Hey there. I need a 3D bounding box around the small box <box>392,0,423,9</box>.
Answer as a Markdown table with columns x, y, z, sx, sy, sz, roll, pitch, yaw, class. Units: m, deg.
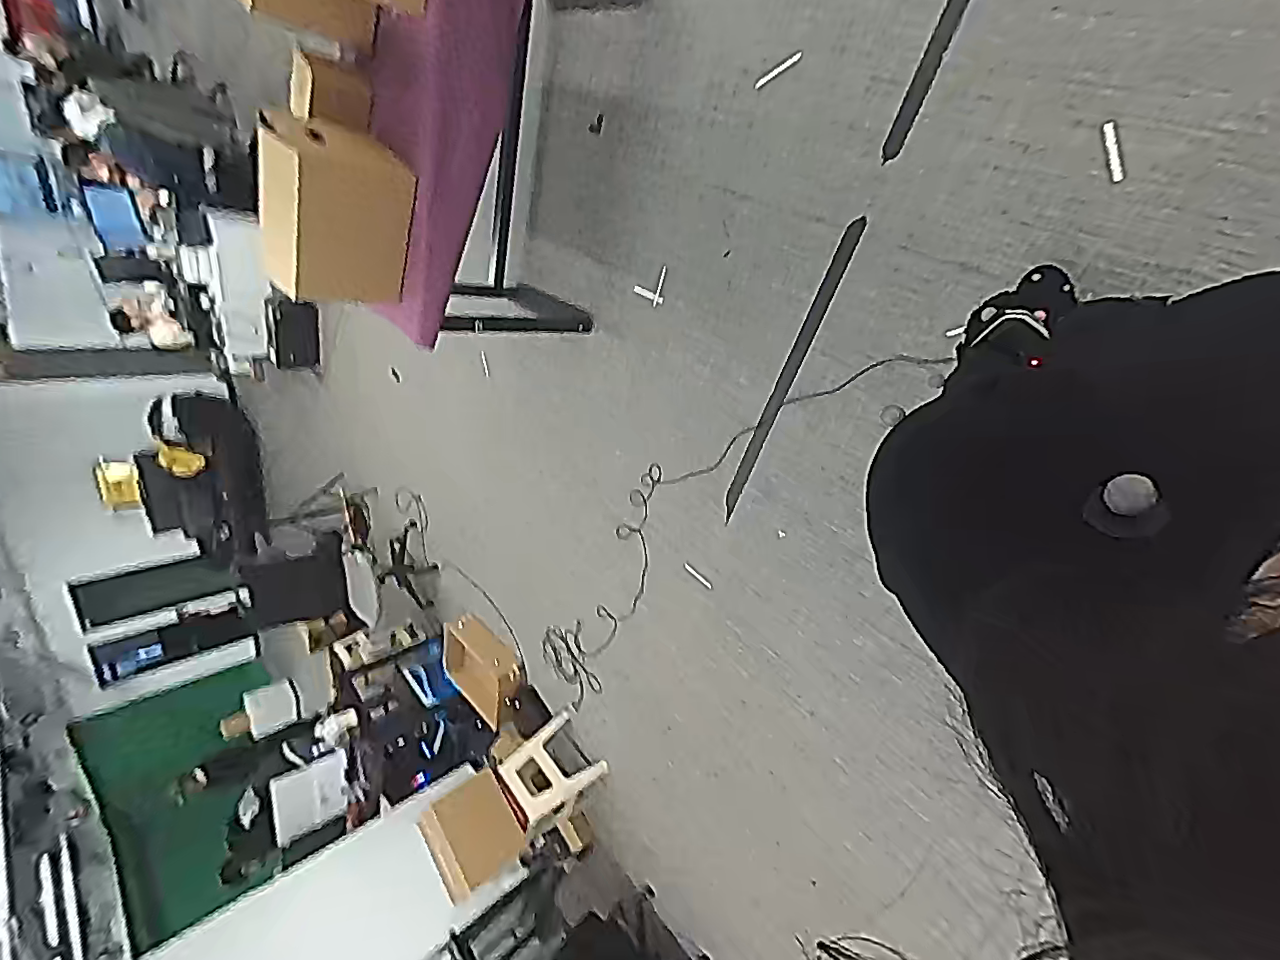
| x | y | z | sx | sy | sz | roll | pitch | yaw | class |
| --- | --- | --- | --- | --- | --- | --- | --- | --- | --- |
| -0.630 | -1.289 | 1.318 | 0.179 | 0.176 | 0.168 | 40 | 126 | 30 | small box |
